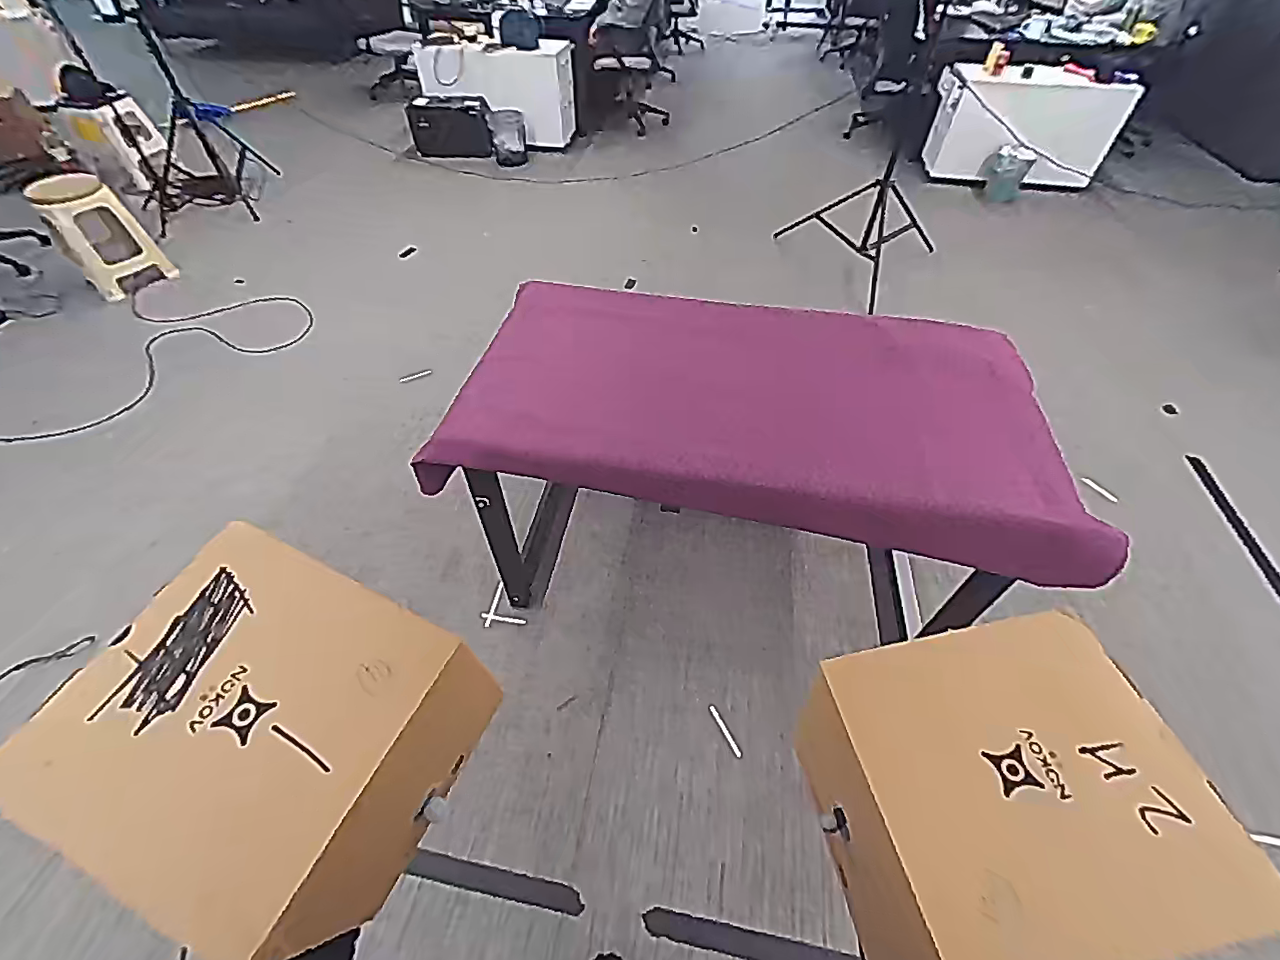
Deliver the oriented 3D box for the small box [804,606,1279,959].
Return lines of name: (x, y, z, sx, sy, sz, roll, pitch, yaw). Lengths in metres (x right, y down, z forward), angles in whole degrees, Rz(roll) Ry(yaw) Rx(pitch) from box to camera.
small box: (0.222, 0.211, 0.362, 0.179, 0.176, 0.168, -11, 50, -3)

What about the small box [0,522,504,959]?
small box: (-0.214, 0.162, 0.358, 0.179, 0.176, 0.168, 24, 60, 10)
